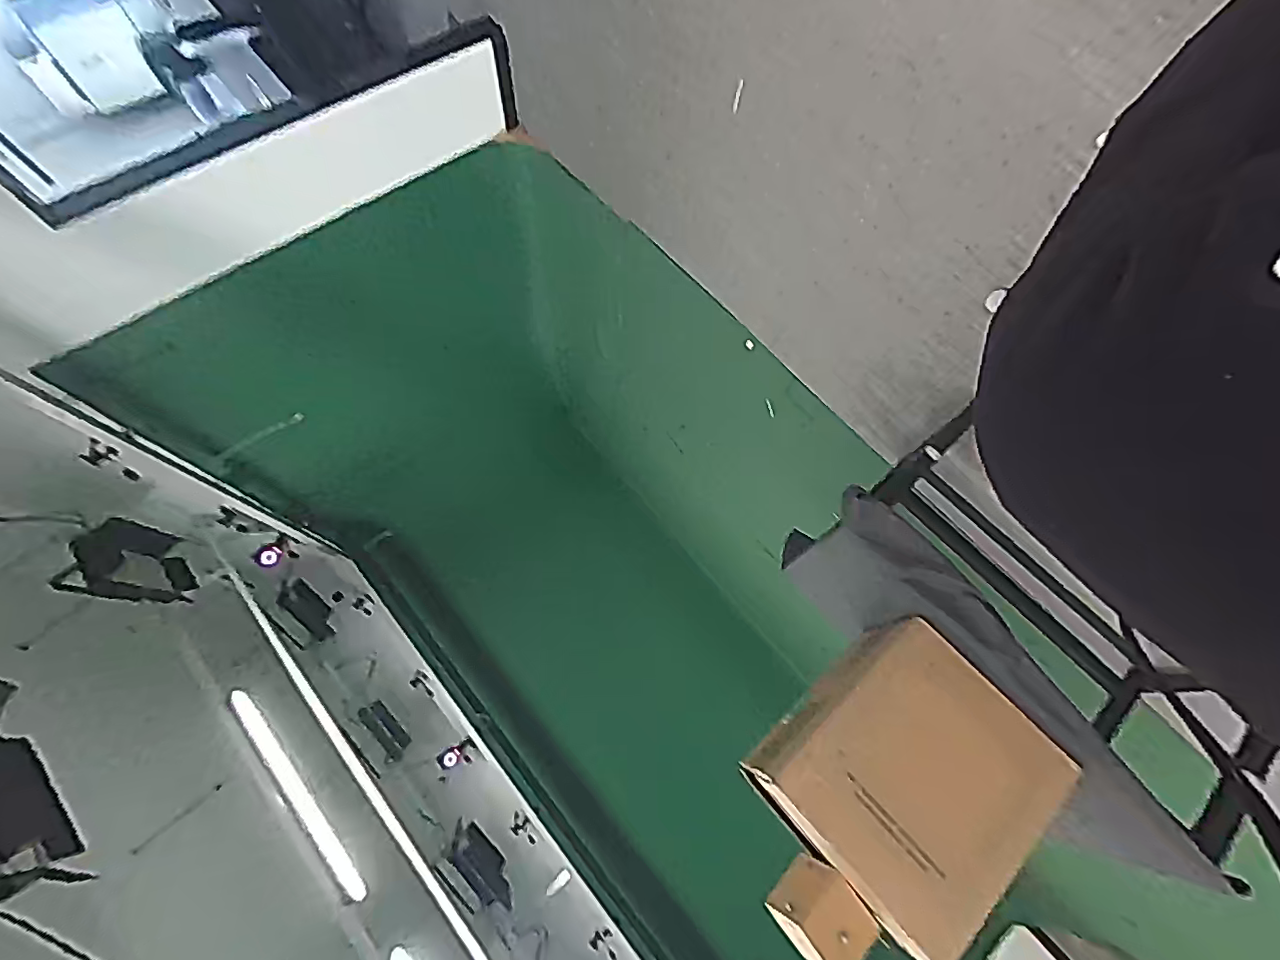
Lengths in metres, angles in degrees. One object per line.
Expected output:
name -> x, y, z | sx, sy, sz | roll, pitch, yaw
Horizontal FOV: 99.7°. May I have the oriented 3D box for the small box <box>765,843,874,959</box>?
small box -> 0.473, 1.110, 1.419 | 0.179, 0.176, 0.168 | 52, 152, 3
